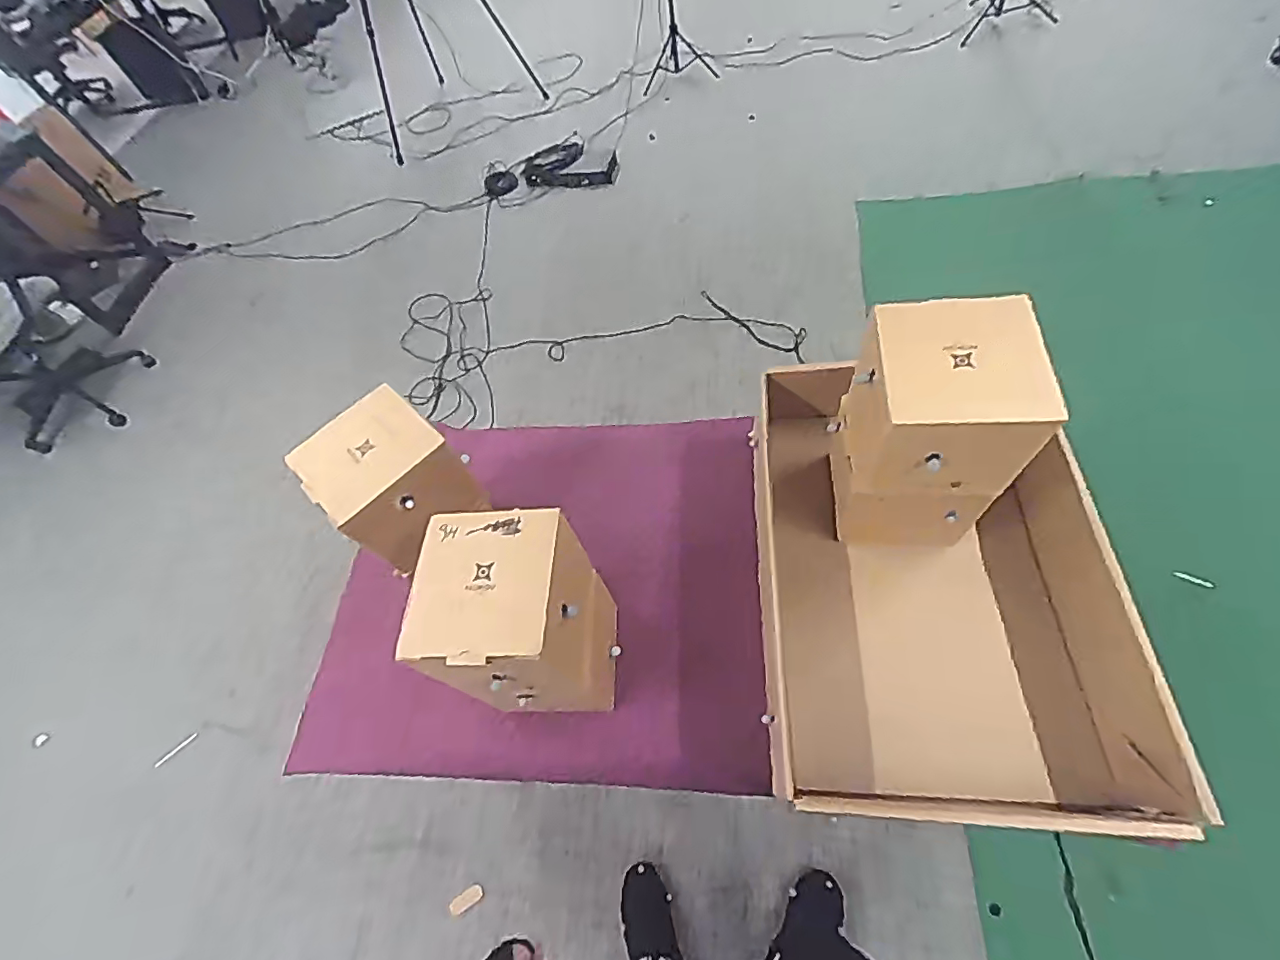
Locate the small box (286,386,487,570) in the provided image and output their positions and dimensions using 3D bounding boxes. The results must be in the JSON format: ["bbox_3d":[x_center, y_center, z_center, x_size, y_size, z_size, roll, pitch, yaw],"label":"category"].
[{"bbox_3d":[-0.361,0.003,0.799,0.179,0.176,0.168,-43,63,-16],"label":"small box"}]

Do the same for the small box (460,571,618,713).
[{"bbox_3d":[-0.137,0.246,0.803,0.179,0.176,0.168,-4,58,8],"label":"small box"}]

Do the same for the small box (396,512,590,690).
[{"bbox_3d":[-0.164,0.156,0.669,0.168,0.176,0.179,-3,58,8],"label":"small box"}]

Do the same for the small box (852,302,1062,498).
[{"bbox_3d":[0.362,-0.088,0.659,0.168,0.176,0.179,0,60,11],"label":"small box"}]
